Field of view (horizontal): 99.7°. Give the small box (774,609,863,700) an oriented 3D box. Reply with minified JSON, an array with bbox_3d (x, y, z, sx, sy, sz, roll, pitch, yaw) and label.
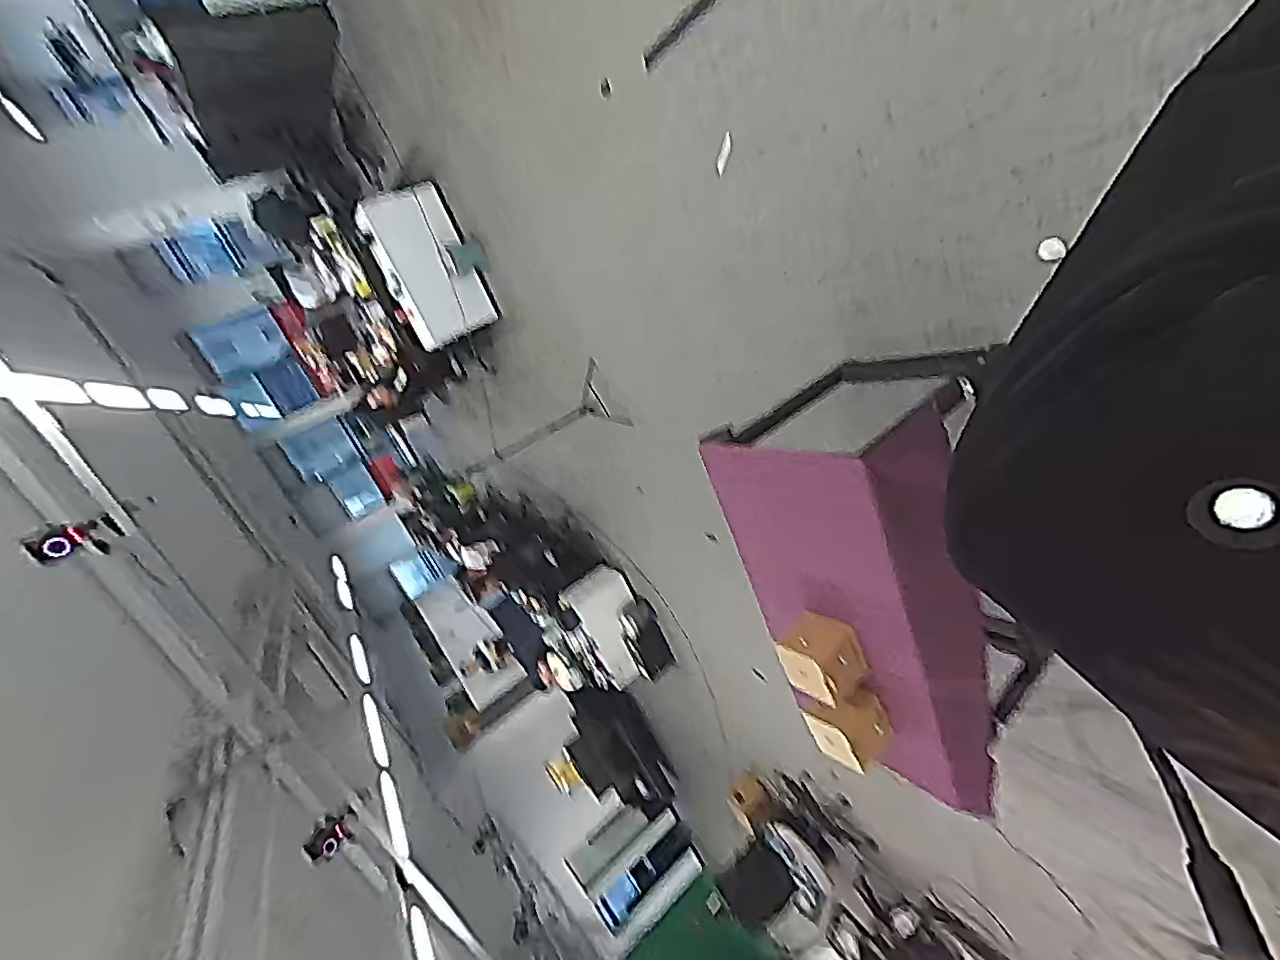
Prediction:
[{"bbox_3d":[0.543,0.513,1.623,0.179,0.176,0.168,9,127,59],"label":"small box"}]

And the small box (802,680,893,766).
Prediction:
[{"bbox_3d":[0.653,0.747,1.701,0.168,0.176,0.179,62,155,-12],"label":"small box"}]
